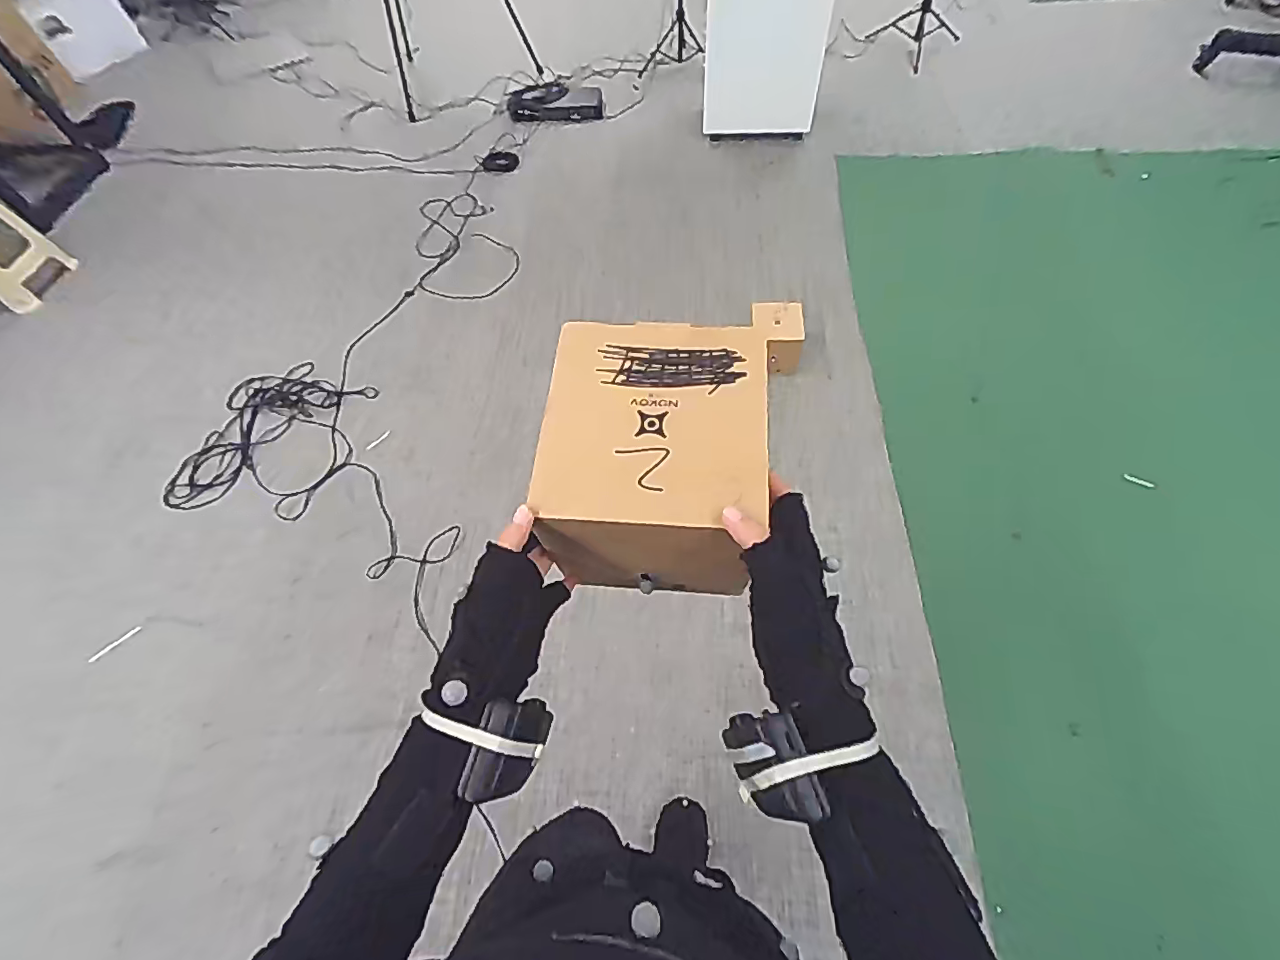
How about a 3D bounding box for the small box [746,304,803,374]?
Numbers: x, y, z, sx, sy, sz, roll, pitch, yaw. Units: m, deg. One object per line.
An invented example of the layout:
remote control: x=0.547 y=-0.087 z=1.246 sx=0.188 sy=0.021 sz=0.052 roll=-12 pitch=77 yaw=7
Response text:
small box: x=0.456 y=-0.478 z=1.847 sx=0.168 sy=0.176 sz=0.179 roll=2 pitch=59 yaw=5
